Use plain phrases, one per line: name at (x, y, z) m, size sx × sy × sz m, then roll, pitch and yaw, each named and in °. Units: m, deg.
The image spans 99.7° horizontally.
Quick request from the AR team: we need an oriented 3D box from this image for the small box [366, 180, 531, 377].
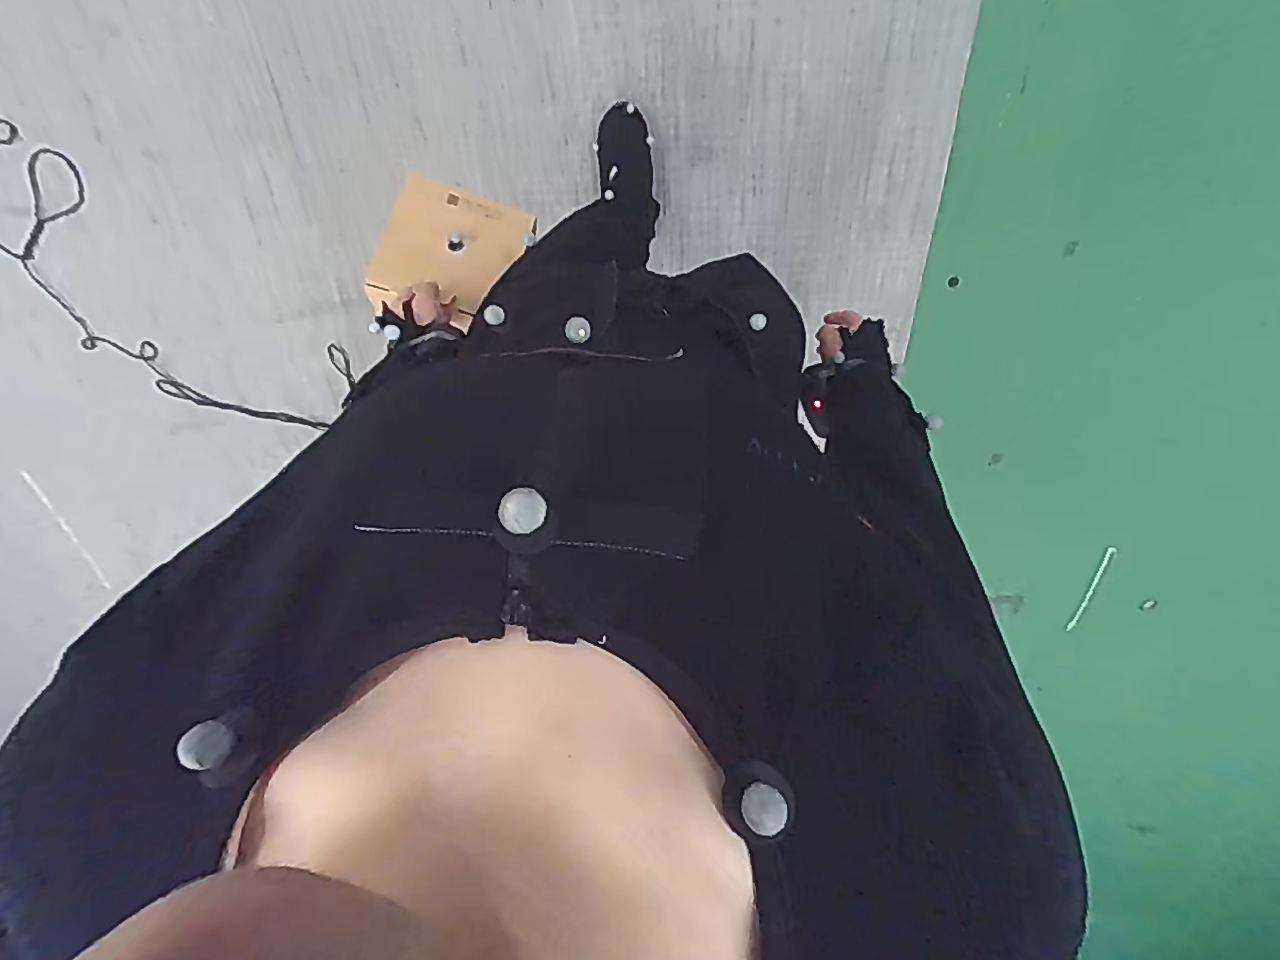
small box at (-0.253, -0.272, 0.751) m, size 0.168 × 0.176 × 0.179 m, roll 15°, pitch 164°, yaw -10°
